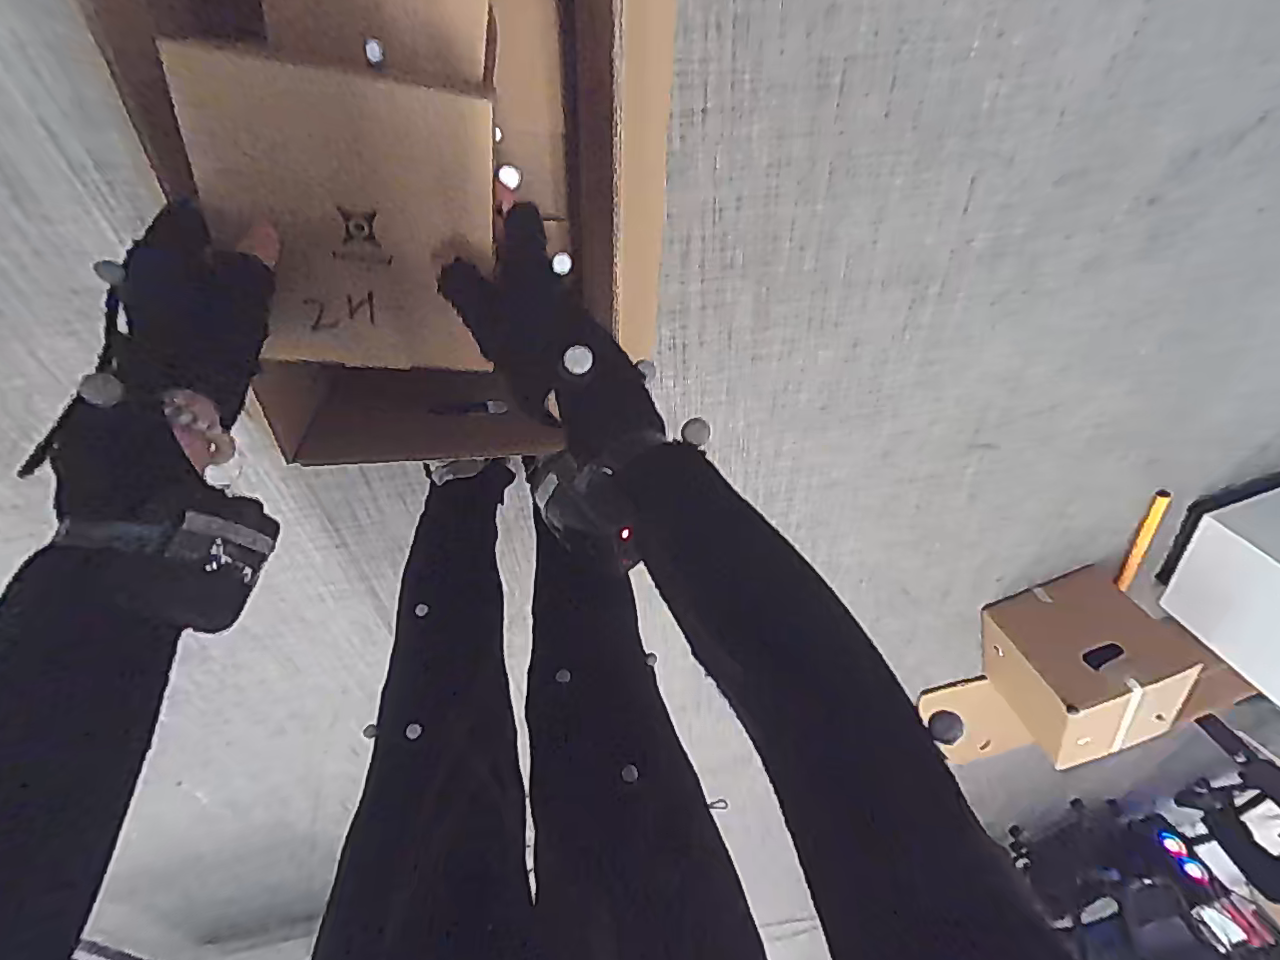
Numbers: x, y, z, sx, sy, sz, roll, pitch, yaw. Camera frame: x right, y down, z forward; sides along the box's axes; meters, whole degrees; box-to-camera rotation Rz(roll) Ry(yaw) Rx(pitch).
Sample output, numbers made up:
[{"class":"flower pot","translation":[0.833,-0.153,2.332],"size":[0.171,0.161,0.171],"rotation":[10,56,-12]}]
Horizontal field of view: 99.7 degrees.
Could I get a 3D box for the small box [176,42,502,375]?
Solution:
[{"class":"small box","translation":[-0.193,-0.199,0.407],"size":[0.168,0.176,0.179],"rotation":[1,126,-15]}]
